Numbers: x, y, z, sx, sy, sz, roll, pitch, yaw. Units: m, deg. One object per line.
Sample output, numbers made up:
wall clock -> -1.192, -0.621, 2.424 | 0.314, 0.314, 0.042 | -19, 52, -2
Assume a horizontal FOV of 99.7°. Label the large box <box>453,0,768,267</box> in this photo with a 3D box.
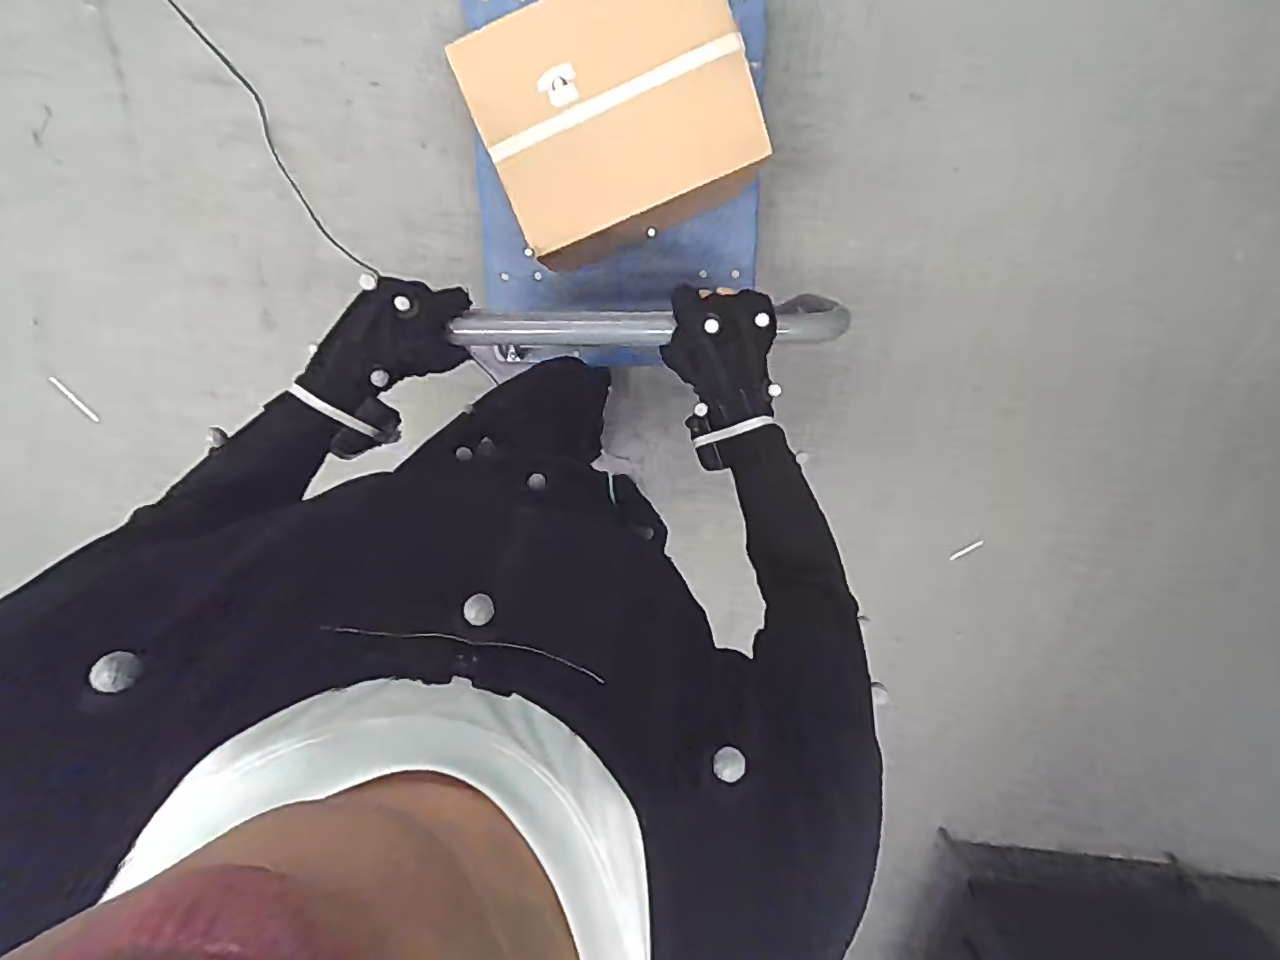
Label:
large box -> -0.039, -0.616, 0.958 | 0.408, 0.320, 0.320 | -22, 105, 6
